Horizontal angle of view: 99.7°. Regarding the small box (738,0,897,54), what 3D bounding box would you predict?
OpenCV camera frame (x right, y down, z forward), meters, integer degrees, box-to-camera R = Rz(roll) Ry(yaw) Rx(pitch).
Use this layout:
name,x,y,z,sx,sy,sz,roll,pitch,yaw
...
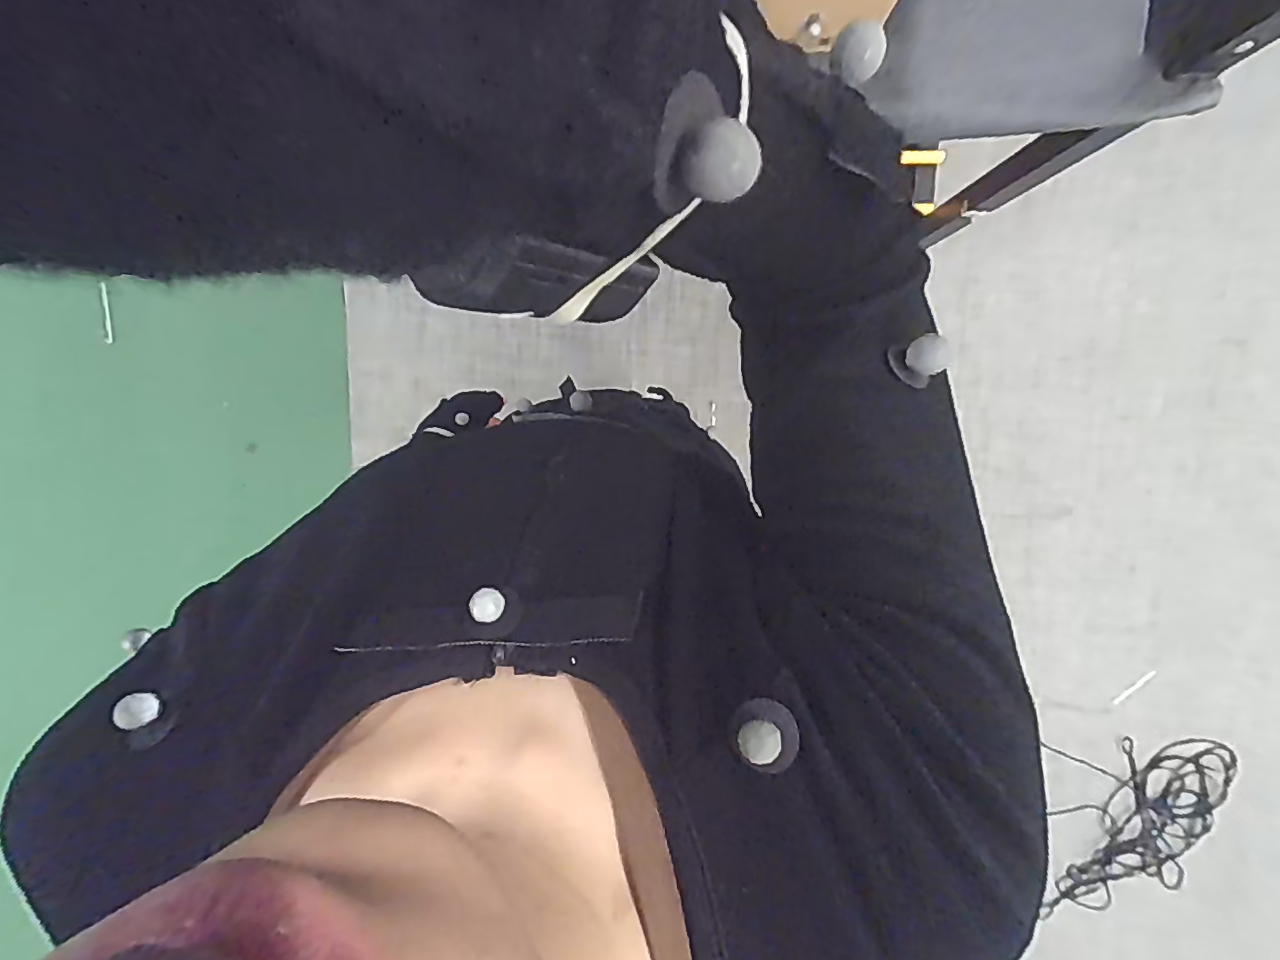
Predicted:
name,x,y,z,sx,sy,sz,roll,pitch,yaw
small box,0.198,-0.605,0.577,0.168,0.176,0.179,-1,97,2
